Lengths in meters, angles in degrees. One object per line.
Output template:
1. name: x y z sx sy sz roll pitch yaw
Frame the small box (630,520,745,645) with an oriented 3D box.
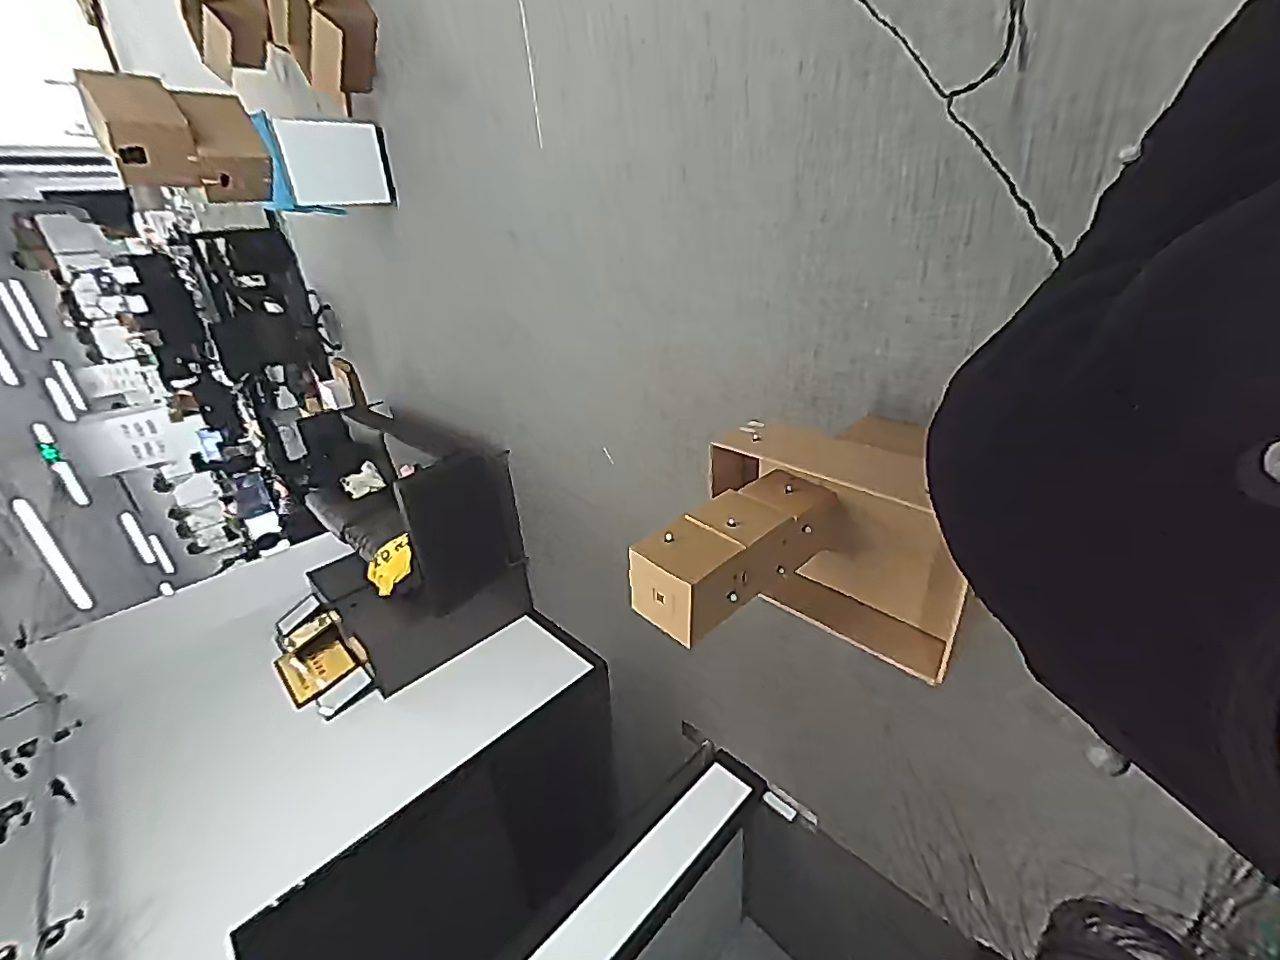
1. small box: 0.097 0.204 1.141 0.179 0.176 0.168 26 129 40

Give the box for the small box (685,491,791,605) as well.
1. small box: 0.220 0.145 1.230 0.179 0.176 0.168 27 129 41

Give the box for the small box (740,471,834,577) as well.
1. small box: 0.350 0.098 1.320 0.168 0.176 0.179 28 130 39
